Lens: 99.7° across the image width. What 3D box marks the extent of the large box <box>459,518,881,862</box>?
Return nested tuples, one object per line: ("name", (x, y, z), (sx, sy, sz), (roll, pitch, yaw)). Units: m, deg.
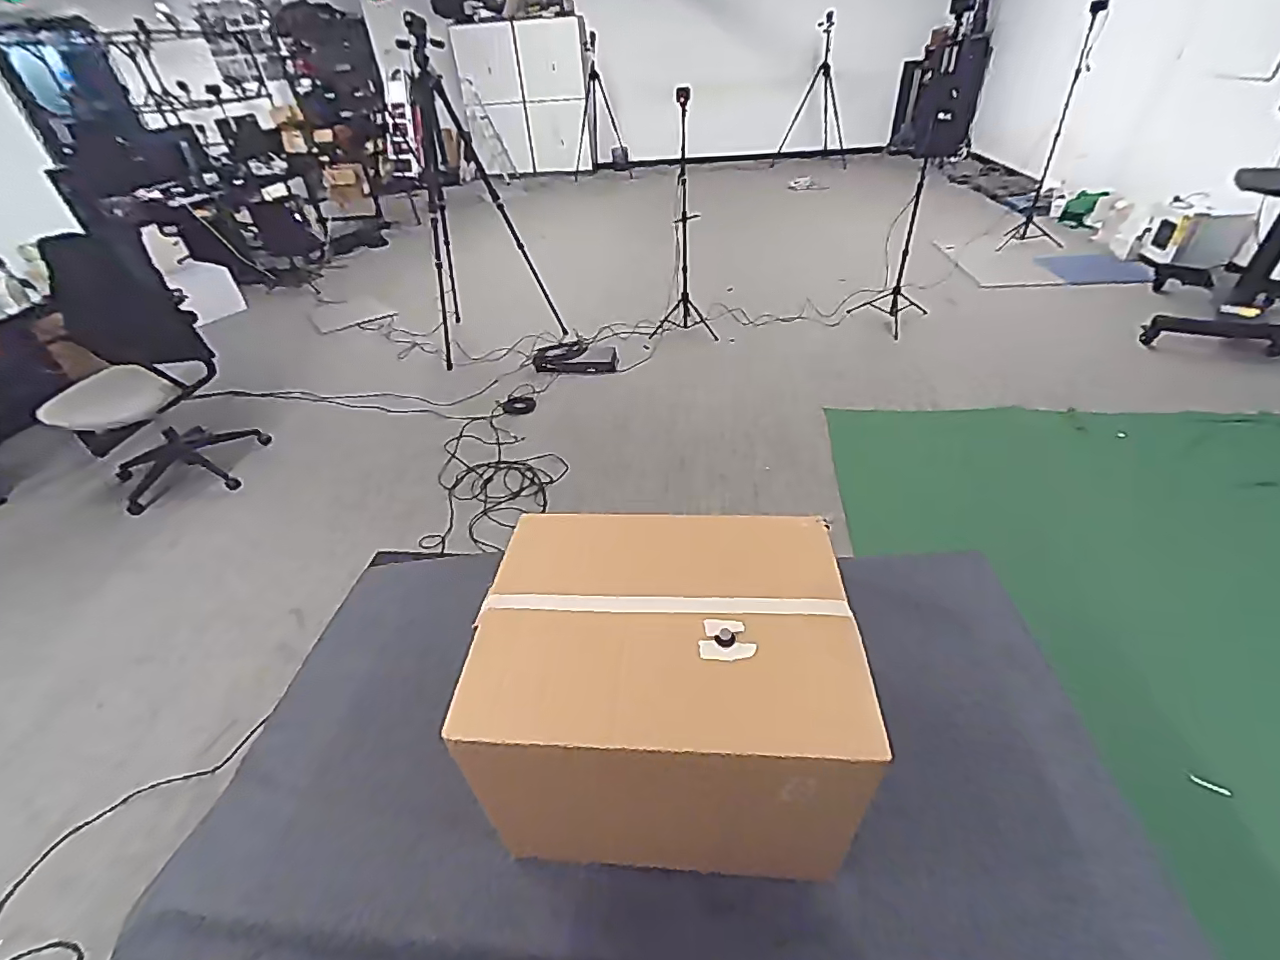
("large box", (0.037, 0.264, 0.707), (0.408, 0.320, 0.320), (0, 39, 5))
